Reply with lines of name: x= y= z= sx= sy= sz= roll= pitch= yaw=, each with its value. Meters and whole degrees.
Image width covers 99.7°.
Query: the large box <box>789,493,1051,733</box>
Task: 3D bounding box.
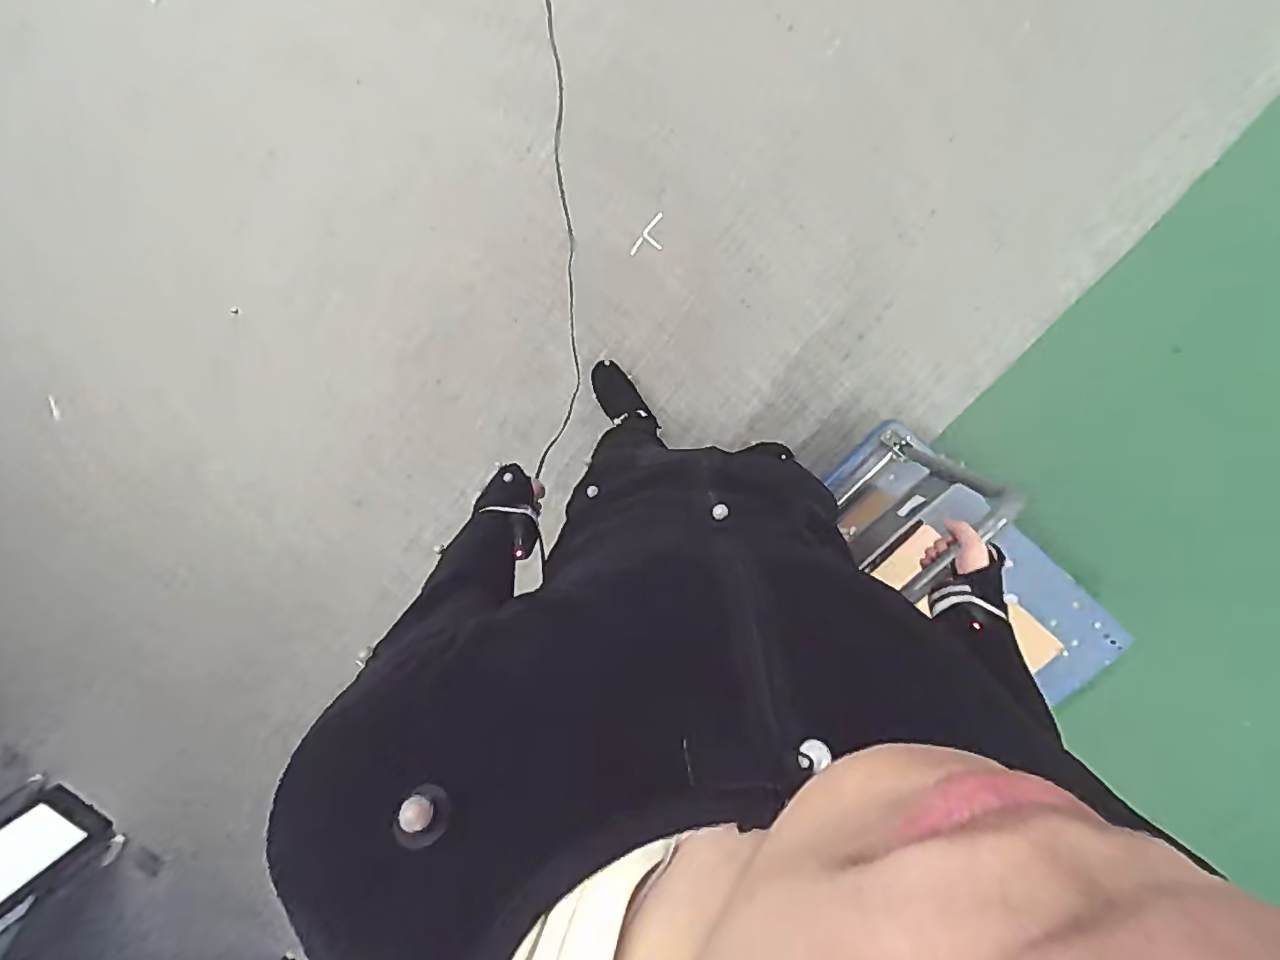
large box: x=0.628 y=0.294 z=1.296 sx=0.408 sy=0.320 sz=0.320 roll=41 pitch=104 yaw=-4
